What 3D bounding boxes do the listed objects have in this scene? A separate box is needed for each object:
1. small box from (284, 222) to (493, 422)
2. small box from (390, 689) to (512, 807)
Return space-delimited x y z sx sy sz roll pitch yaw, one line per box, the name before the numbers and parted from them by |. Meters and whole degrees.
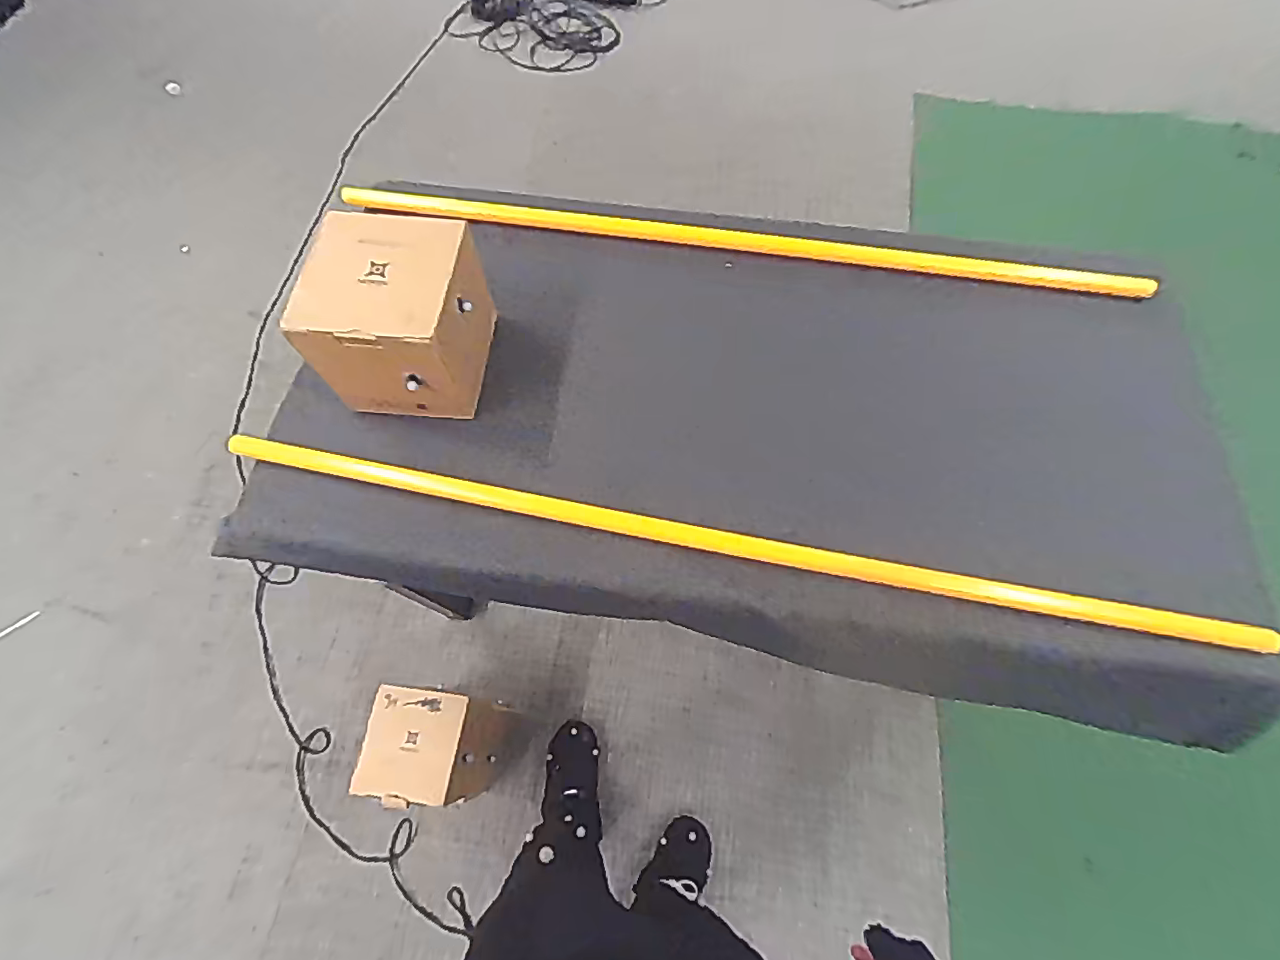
small box | -0.293 -0.189 0.678 0.168 0.176 0.179 4 65 0
small box | -0.385 0.559 1.145 0.168 0.176 0.179 15 68 7
